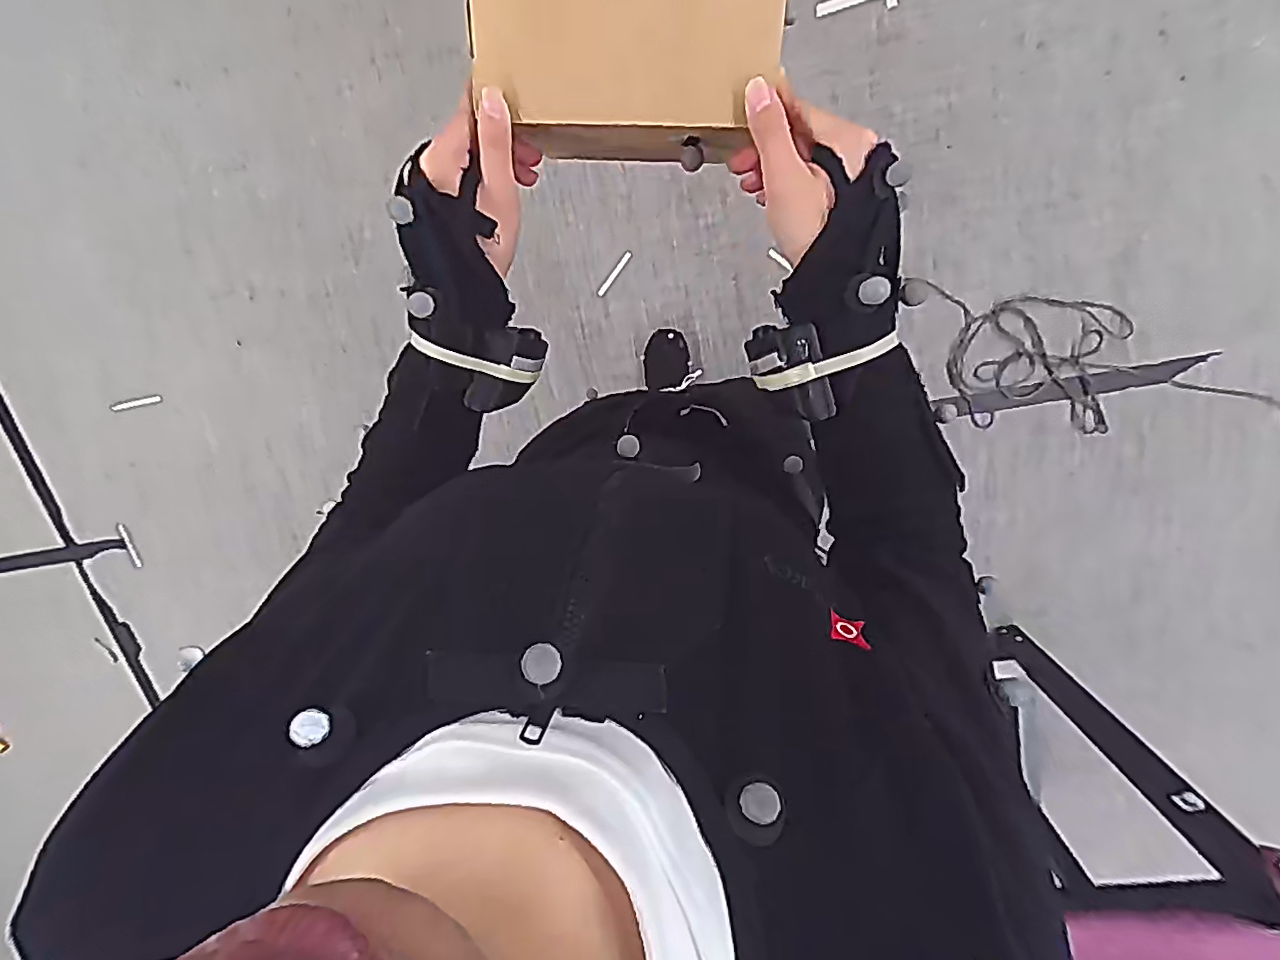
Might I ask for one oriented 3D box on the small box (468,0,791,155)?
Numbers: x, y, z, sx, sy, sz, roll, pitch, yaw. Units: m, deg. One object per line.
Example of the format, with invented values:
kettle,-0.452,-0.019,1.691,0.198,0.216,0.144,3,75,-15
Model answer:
small box,0.002,-0.317,0.348,0.179,0.176,0.168,5,114,5
